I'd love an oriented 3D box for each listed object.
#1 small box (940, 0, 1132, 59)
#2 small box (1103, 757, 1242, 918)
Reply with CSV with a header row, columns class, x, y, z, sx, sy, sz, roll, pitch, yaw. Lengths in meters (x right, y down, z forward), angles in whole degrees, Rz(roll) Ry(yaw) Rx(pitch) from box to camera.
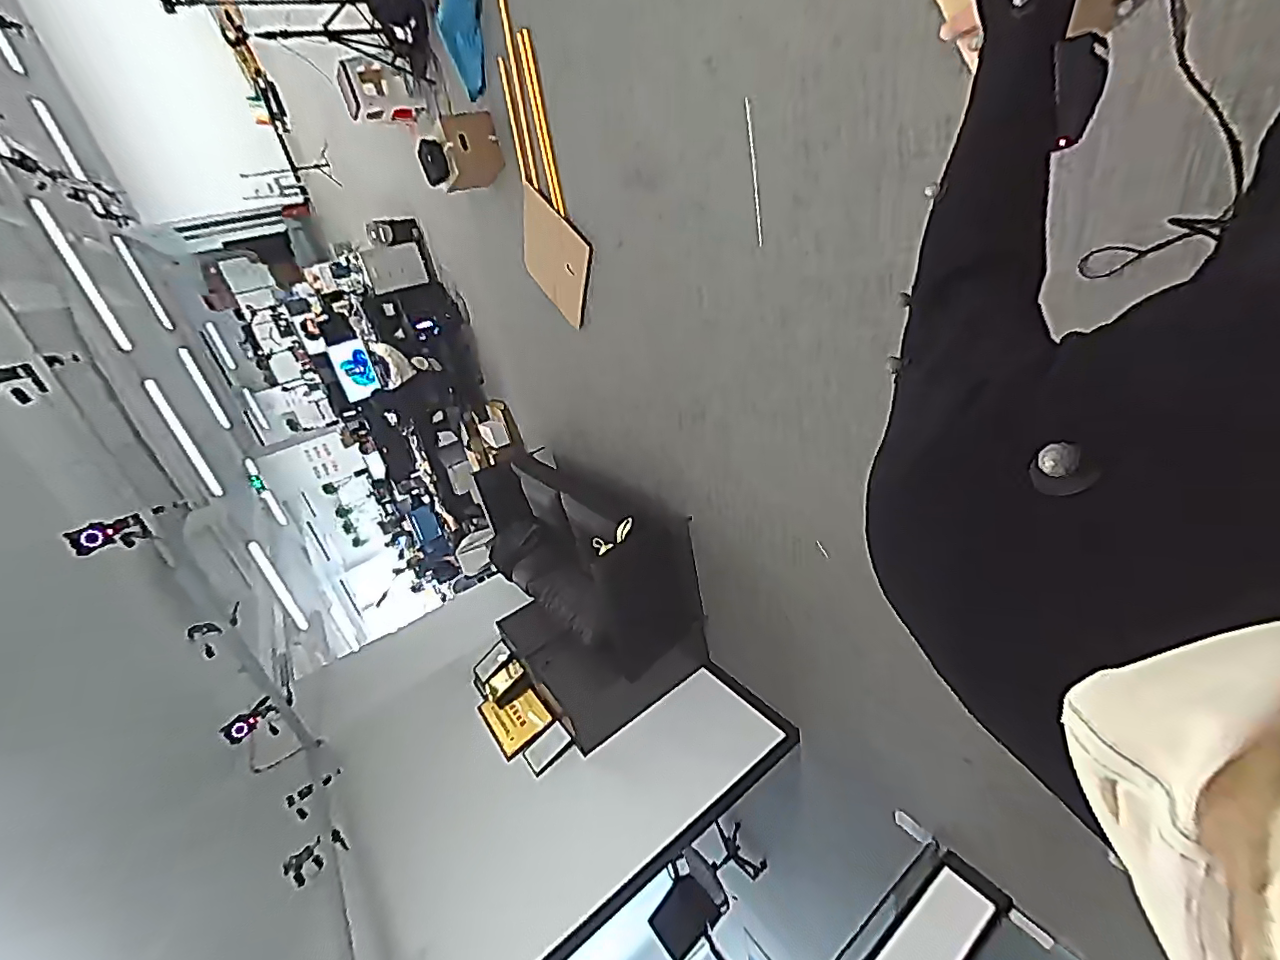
class,x,y,z,sx,sy,sz,roll,pitch,yaw
small box,0.398,-0.539,0.505,0.179,0.176,0.168,67,157,3
small box,1.076,0.710,1.097,0.168,0.176,0.179,13,126,59
